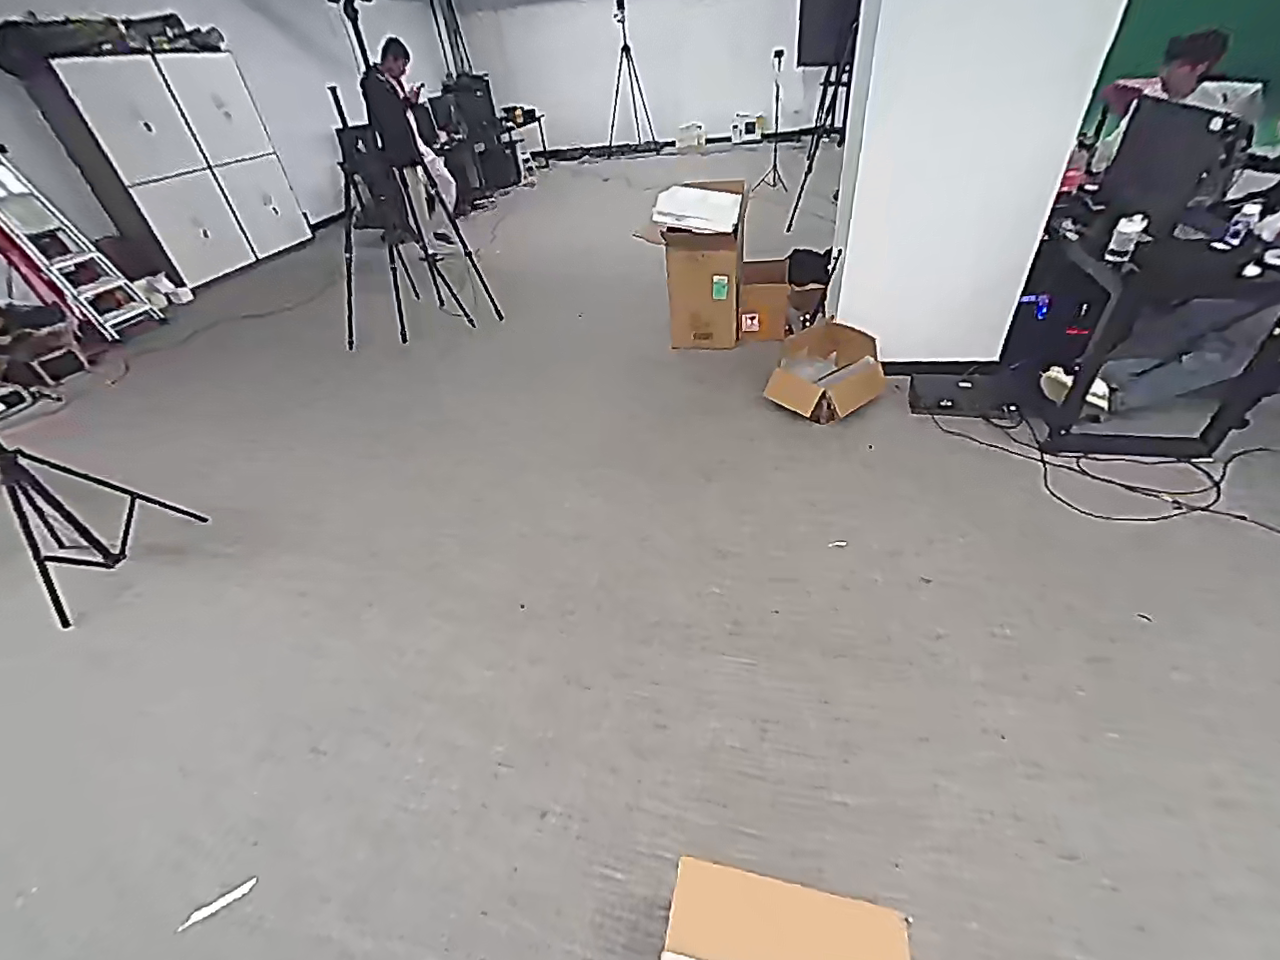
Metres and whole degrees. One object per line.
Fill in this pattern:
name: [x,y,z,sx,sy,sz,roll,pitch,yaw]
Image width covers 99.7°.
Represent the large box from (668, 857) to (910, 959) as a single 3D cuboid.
large box: [0.252,0.950,0.977,0.408,0.320,0.320,5,40,14]
